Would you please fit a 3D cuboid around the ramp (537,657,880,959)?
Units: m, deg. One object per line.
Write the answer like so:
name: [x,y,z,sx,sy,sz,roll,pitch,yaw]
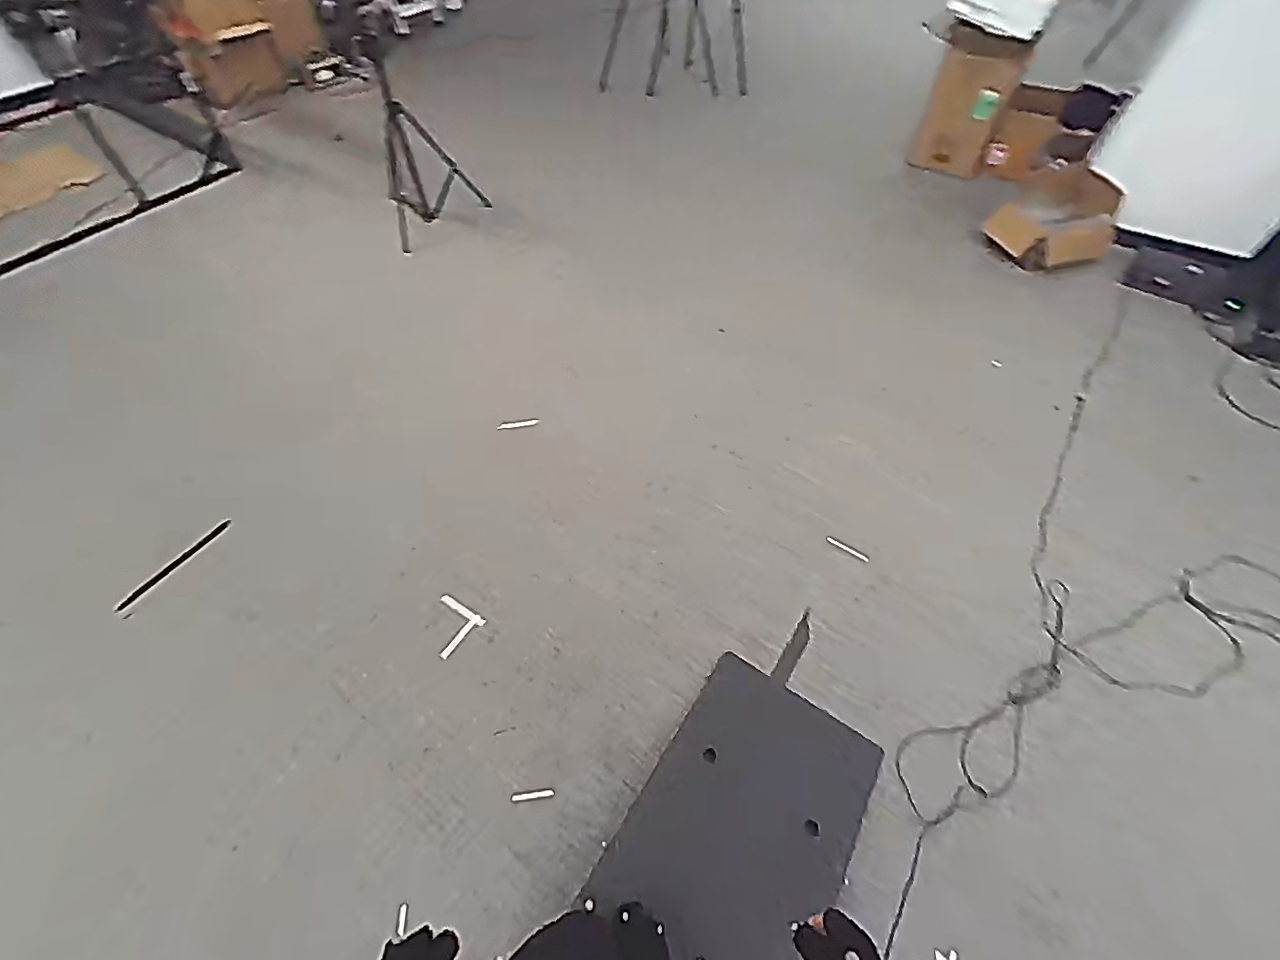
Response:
ramp: [0.174,0.908,1.236,0.509,0.206,0.991,26,58,20]
